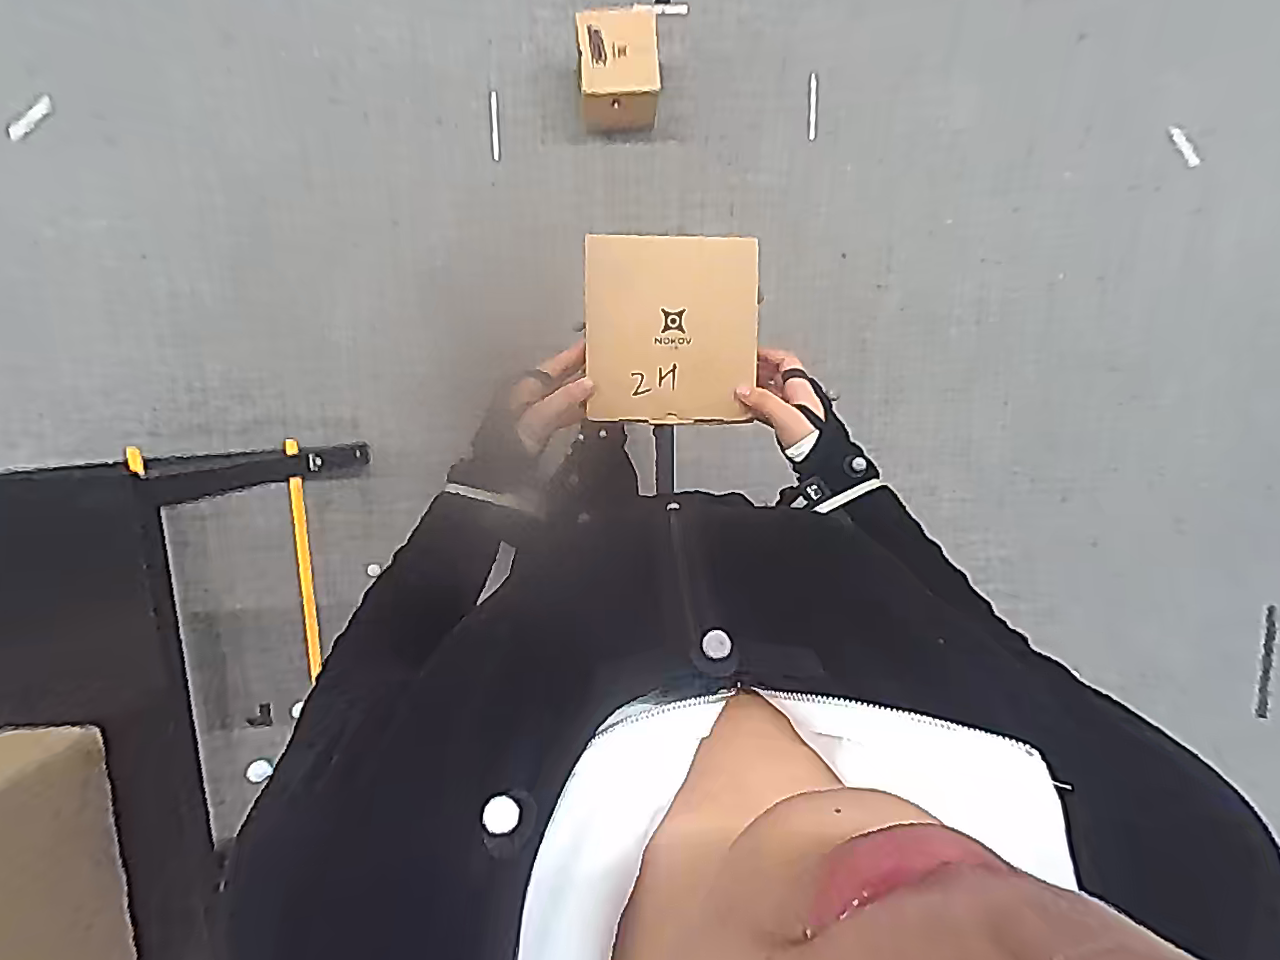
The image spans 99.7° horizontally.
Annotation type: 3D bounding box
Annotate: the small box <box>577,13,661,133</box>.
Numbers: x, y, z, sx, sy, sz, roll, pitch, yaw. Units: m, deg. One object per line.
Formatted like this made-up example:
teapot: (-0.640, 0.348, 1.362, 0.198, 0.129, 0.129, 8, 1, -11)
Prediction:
small box: (-0.049, -0.934, 1.257, 0.179, 0.176, 0.168, -5, 98, -3)

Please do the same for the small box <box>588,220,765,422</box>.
small box: (0.029, -0.155, 0.582, 0.168, 0.176, 0.179, 0, 94, -3)
